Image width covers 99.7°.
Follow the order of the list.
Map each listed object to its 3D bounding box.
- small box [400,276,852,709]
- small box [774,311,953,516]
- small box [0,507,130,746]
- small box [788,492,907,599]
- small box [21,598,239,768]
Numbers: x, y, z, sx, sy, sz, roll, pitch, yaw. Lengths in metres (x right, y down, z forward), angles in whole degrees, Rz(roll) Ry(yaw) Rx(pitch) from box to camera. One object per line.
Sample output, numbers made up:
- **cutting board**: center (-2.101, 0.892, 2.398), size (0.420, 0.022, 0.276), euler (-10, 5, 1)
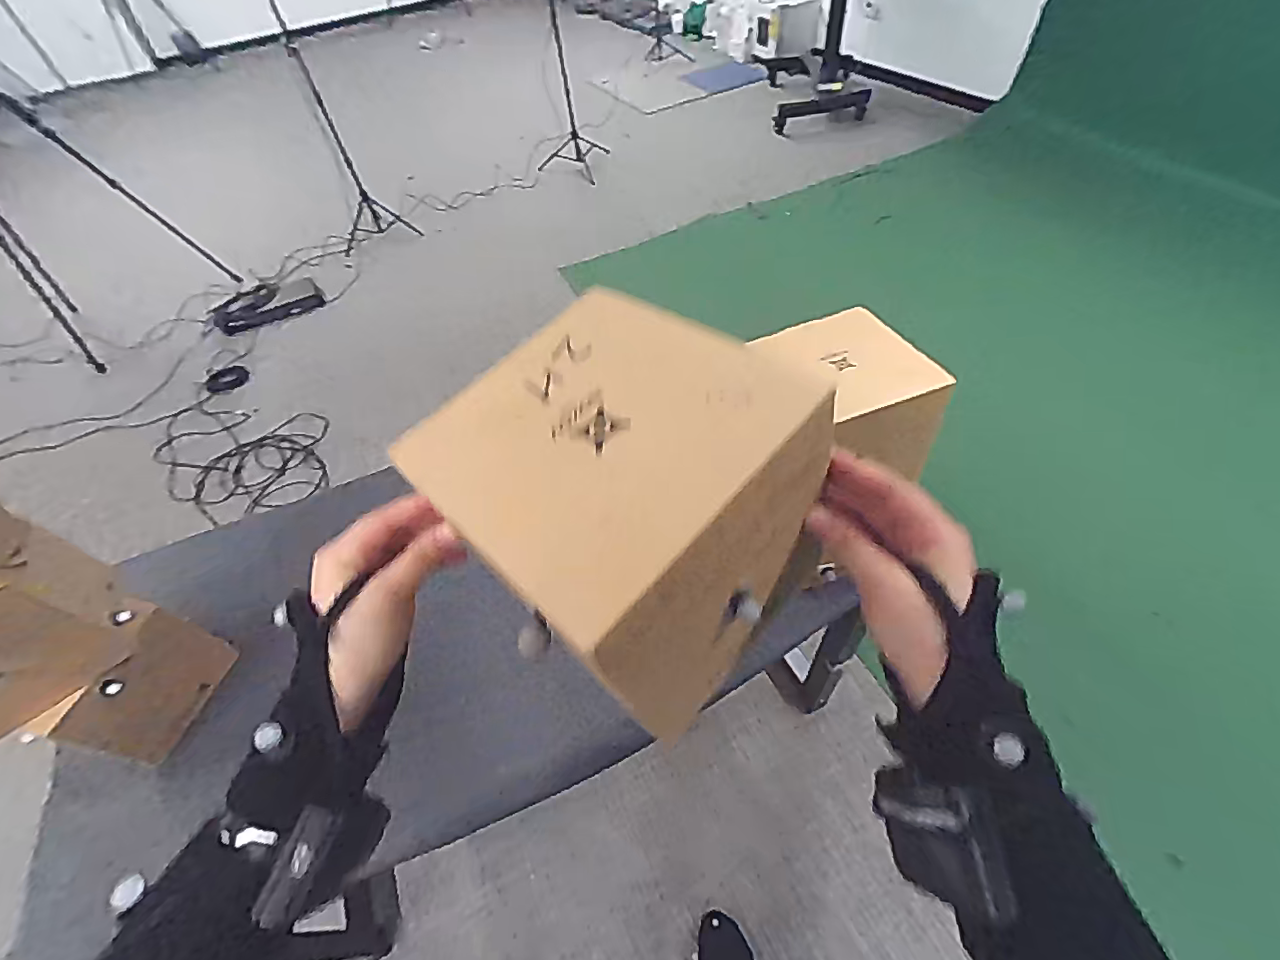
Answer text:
- **small box**: center (0.002, 0.013, 0.331), size (0.168, 0.176, 0.179), euler (-44, 54, -17)
- **small box**: center (0.237, -0.073, 0.665), size (0.168, 0.176, 0.179), euler (-19, 47, -7)
- **small box**: center (-0.720, 0.167, 0.595), size (0.179, 0.176, 0.168), euler (-40, 58, -22)
- **small box**: center (0.245, 0.040, 0.783), size (0.168, 0.176, 0.179), euler (-18, 49, -5)
- **small box**: center (-0.707, 0.266, 0.725), size (0.179, 0.176, 0.168), euler (8, 53, 13)
